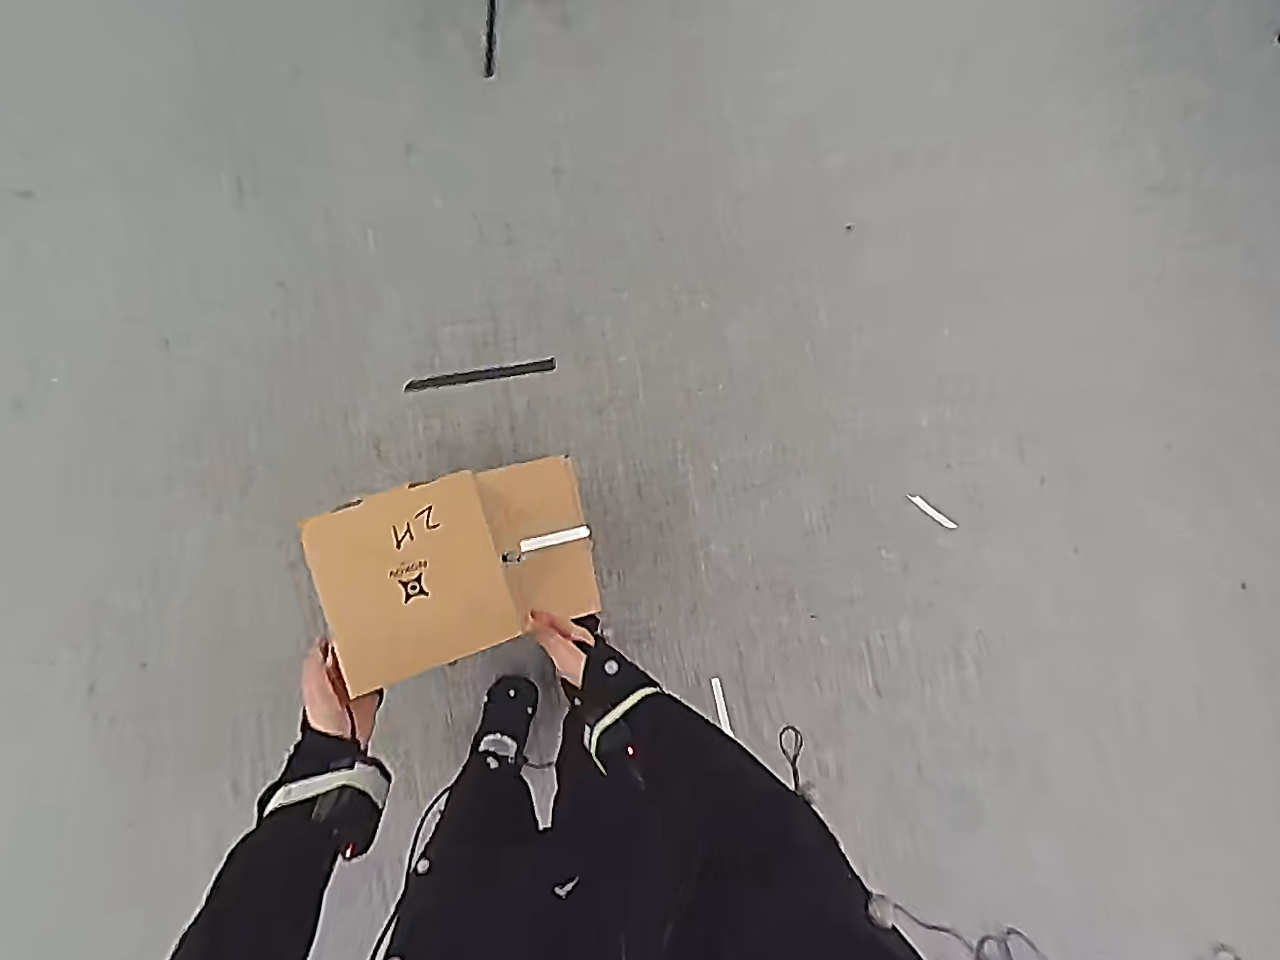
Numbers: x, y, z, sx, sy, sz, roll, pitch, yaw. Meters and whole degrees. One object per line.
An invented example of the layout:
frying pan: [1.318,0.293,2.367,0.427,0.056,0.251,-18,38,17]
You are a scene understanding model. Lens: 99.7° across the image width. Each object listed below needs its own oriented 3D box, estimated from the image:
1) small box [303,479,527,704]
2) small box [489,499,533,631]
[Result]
small box: [-0.227,0.111,0.595,0.168,0.176,0.179,-18,87,-12]
small box: [-0.249,0.135,0.757,0.168,0.176,0.179,-14,84,-12]
